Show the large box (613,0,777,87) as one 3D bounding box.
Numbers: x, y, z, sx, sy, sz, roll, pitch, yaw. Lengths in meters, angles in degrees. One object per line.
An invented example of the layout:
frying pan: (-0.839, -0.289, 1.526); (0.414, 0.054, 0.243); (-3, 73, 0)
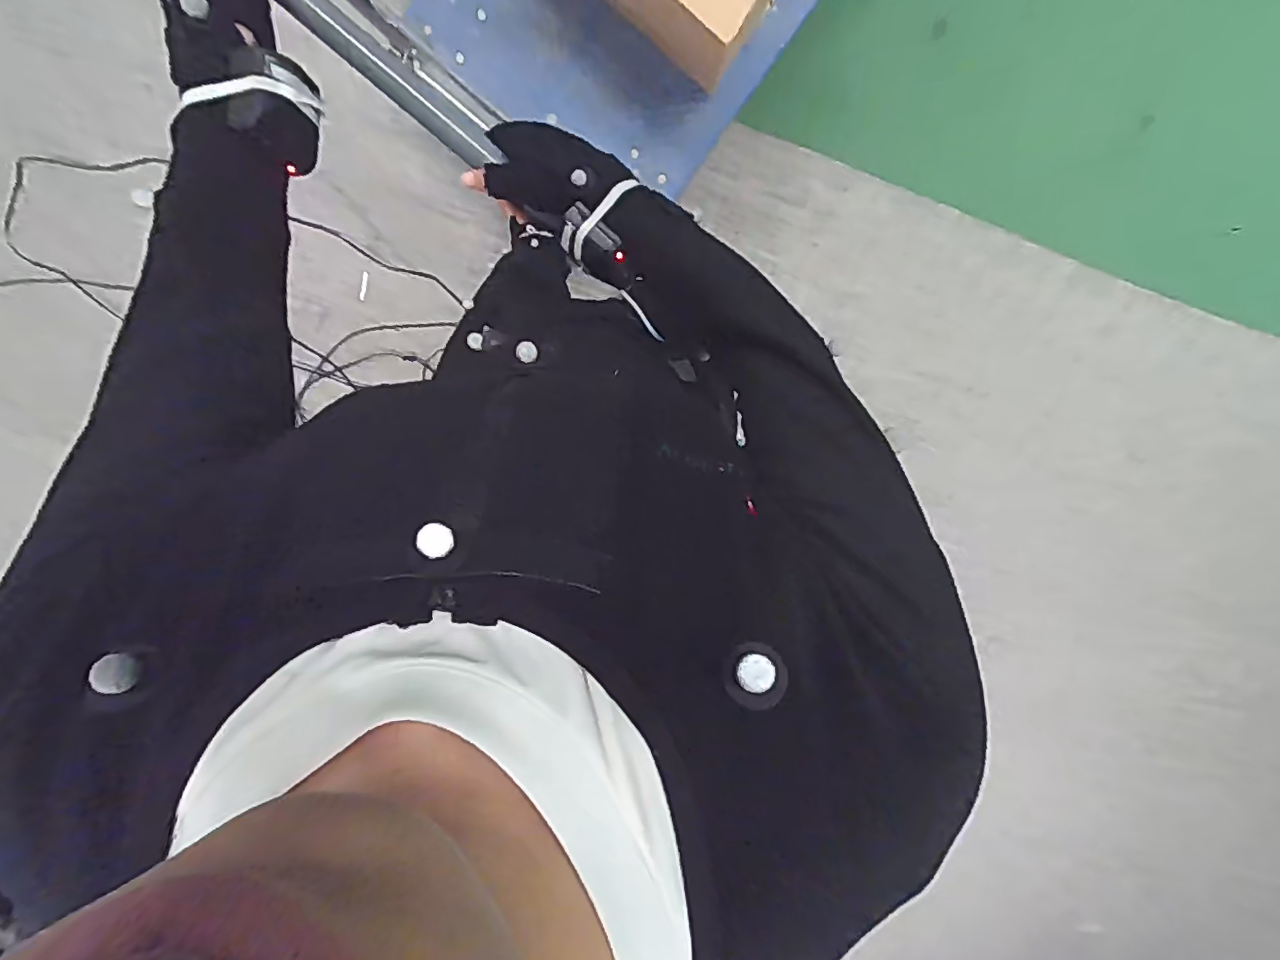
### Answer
large box: (0.063, -0.886, 0.793); (0.408, 0.320, 0.320); (34, 112, -12)
